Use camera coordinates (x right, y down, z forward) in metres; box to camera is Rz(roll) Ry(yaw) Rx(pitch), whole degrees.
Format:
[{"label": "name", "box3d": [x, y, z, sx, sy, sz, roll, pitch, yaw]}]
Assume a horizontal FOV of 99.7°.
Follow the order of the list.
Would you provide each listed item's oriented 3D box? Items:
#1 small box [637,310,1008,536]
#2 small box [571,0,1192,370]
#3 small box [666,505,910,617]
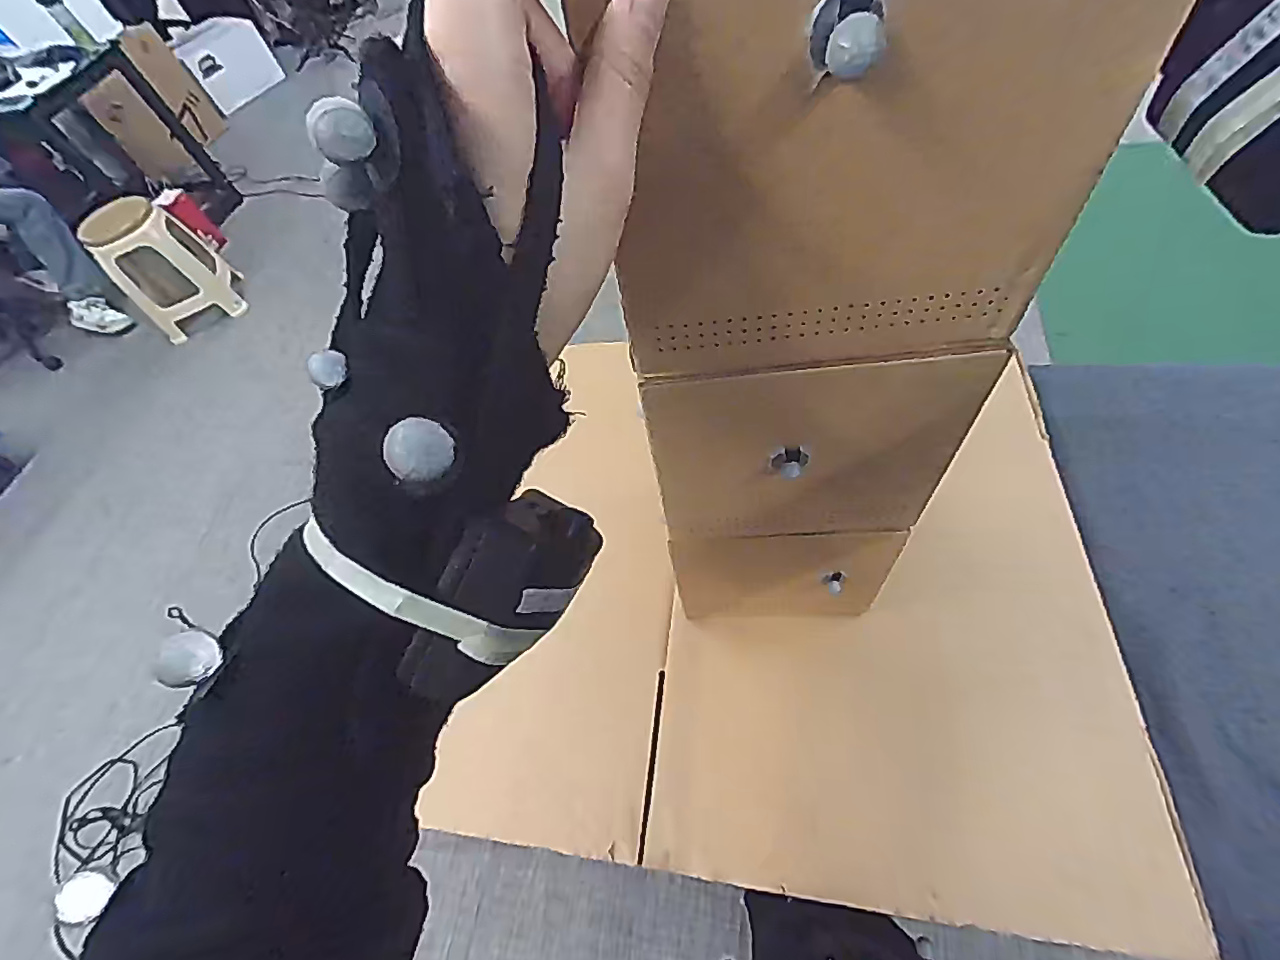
[{"label": "small box", "box3d": [0.096, -0.074, 0.365, 0.179, 0.176, 0.168, -5, 55, 7]}, {"label": "small box", "box3d": [0.075, -0.169, 0.235, 0.179, 0.176, 0.168, -5, 55, 7]}, {"label": "small box", "box3d": [0.118, 0.019, 0.499, 0.179, 0.176, 0.168, -4, 55, 8]}]
